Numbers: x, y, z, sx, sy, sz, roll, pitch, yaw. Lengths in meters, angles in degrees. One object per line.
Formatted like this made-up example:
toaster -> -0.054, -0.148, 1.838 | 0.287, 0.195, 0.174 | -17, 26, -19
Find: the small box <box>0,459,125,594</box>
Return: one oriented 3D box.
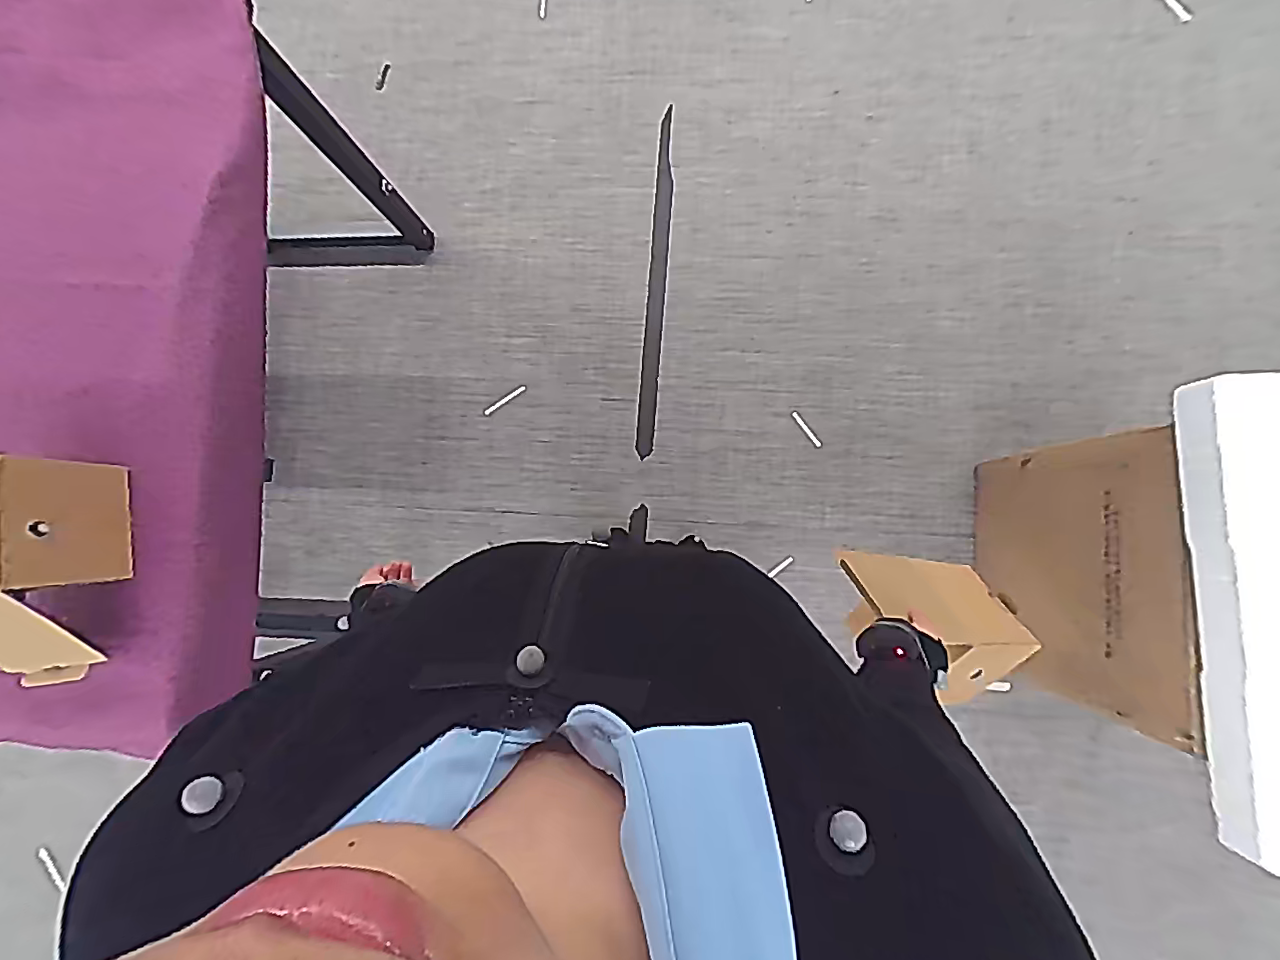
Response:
small box -> -0.872, 0.069, 0.753 | 0.168, 0.176, 0.179 | -8, 84, 3
